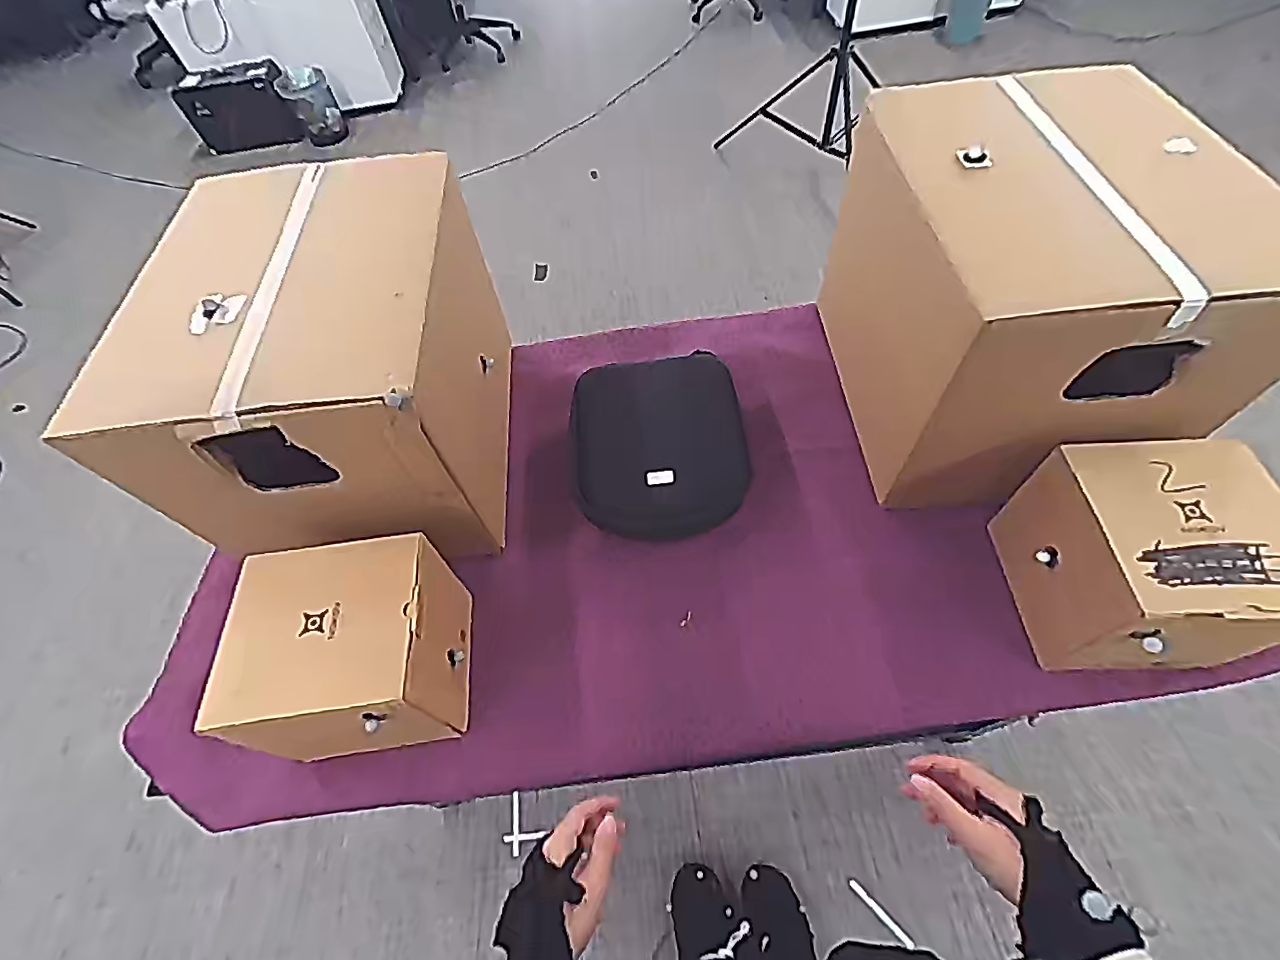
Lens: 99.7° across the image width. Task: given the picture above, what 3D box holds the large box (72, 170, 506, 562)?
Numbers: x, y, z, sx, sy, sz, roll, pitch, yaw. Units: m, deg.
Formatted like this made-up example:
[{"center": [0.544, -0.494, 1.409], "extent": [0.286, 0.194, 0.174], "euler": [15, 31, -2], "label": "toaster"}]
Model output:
[{"center": [-0.361, -0.126, 0.698], "extent": [0.320, 0.320, 0.408], "euler": [-8, 59, 0], "label": "large box"}]

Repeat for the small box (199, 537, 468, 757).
[{"center": [-0.297, 0.181, 0.572], "extent": [0.179, 0.176, 0.168], "euler": [-8, 55, -4], "label": "small box"}]
